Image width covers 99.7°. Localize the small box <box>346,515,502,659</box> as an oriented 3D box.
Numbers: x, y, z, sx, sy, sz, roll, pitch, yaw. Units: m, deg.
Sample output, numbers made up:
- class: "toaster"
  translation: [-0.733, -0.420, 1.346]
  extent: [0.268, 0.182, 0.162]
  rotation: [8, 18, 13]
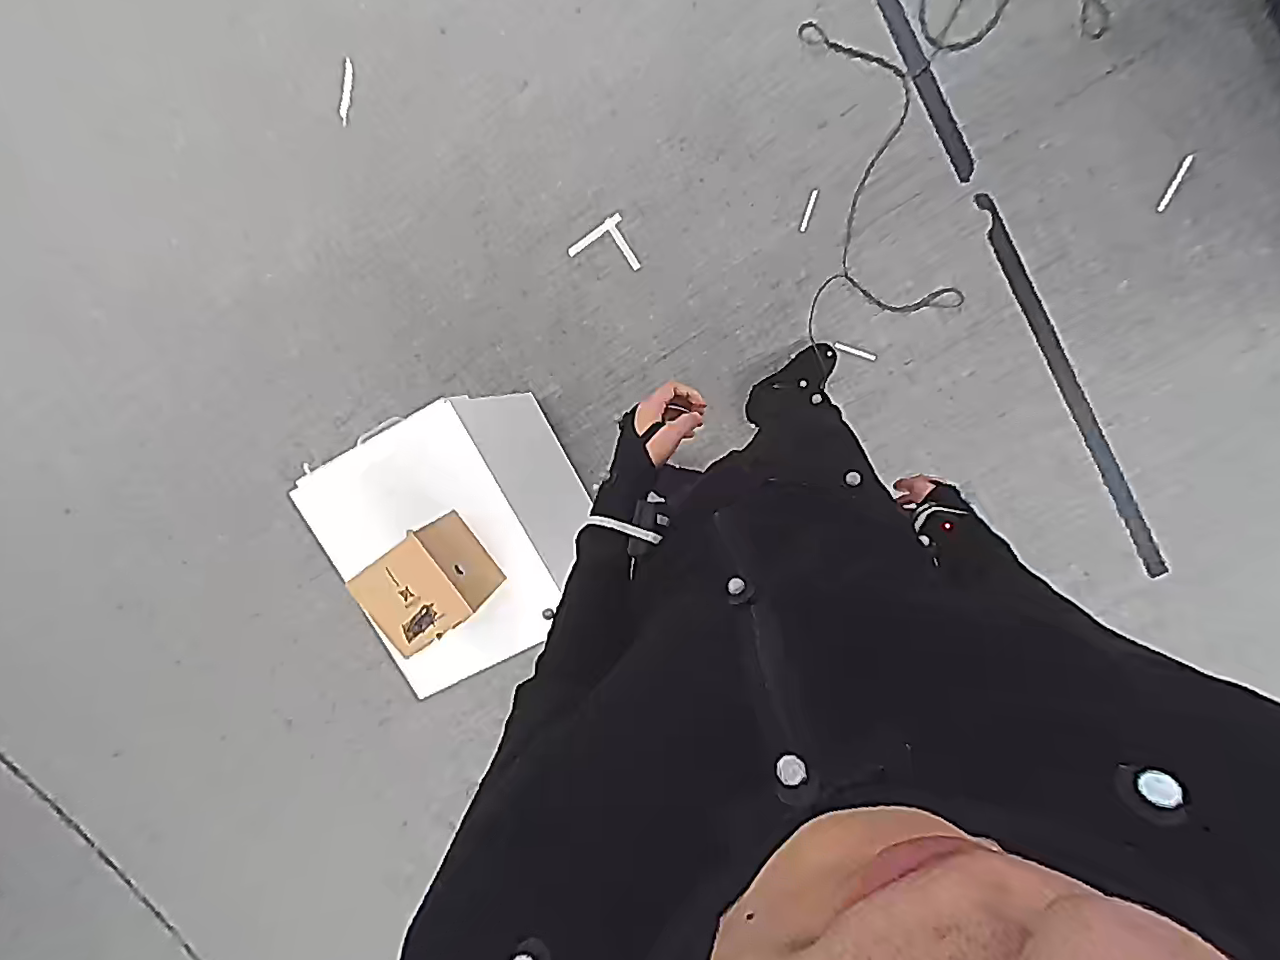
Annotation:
- class: "small box"
  translation: [-0.389, 0.189, 1.007]
  extent: [0.168, 0.176, 0.179]
  rotation: [-35, 95, 10]
